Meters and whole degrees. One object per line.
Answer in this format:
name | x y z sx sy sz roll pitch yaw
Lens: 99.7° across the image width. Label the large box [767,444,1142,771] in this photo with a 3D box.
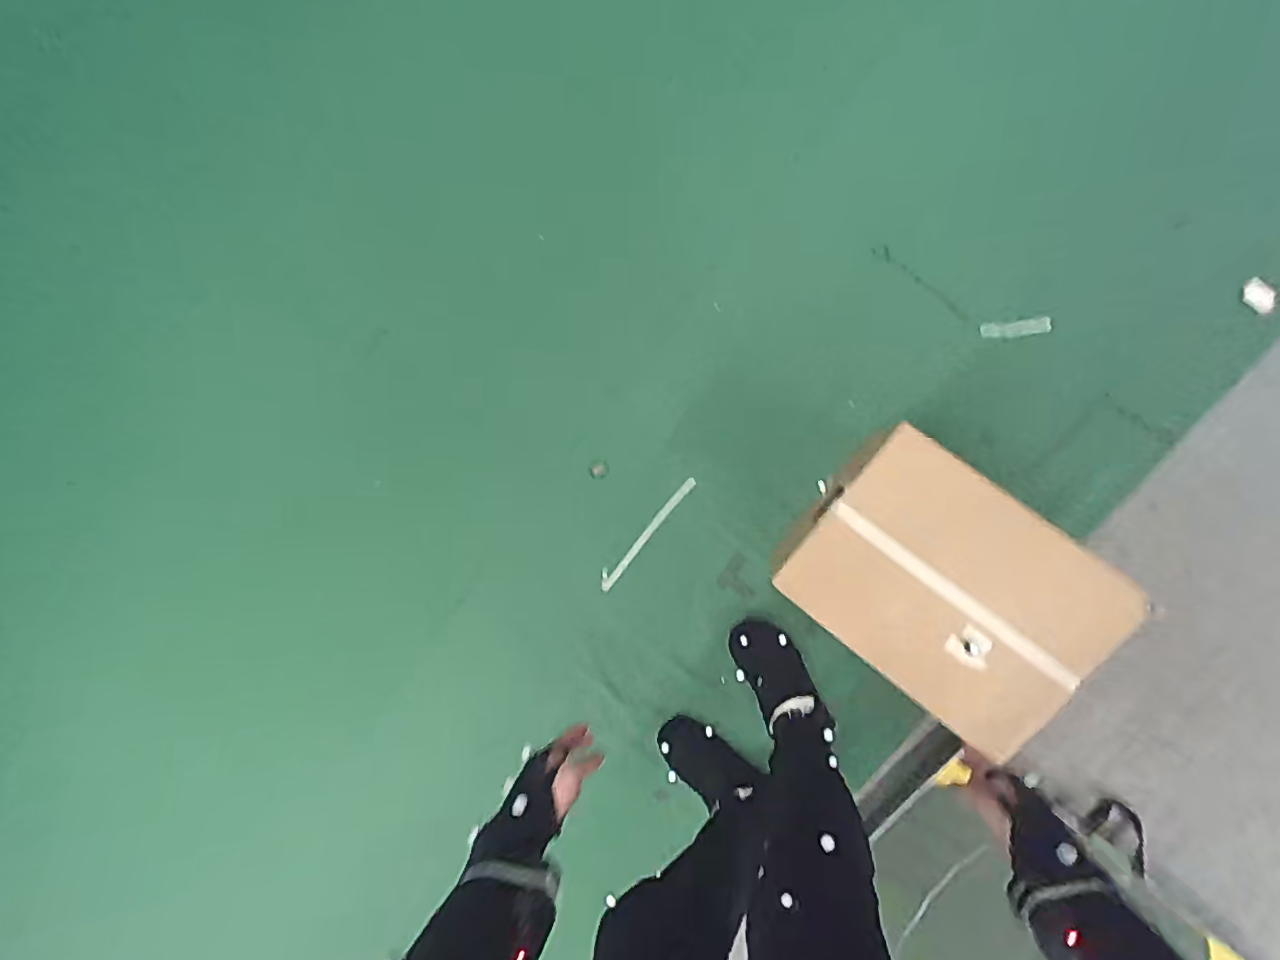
large box | 0.476 0.182 0.936 0.408 0.320 0.320 39 98 9
